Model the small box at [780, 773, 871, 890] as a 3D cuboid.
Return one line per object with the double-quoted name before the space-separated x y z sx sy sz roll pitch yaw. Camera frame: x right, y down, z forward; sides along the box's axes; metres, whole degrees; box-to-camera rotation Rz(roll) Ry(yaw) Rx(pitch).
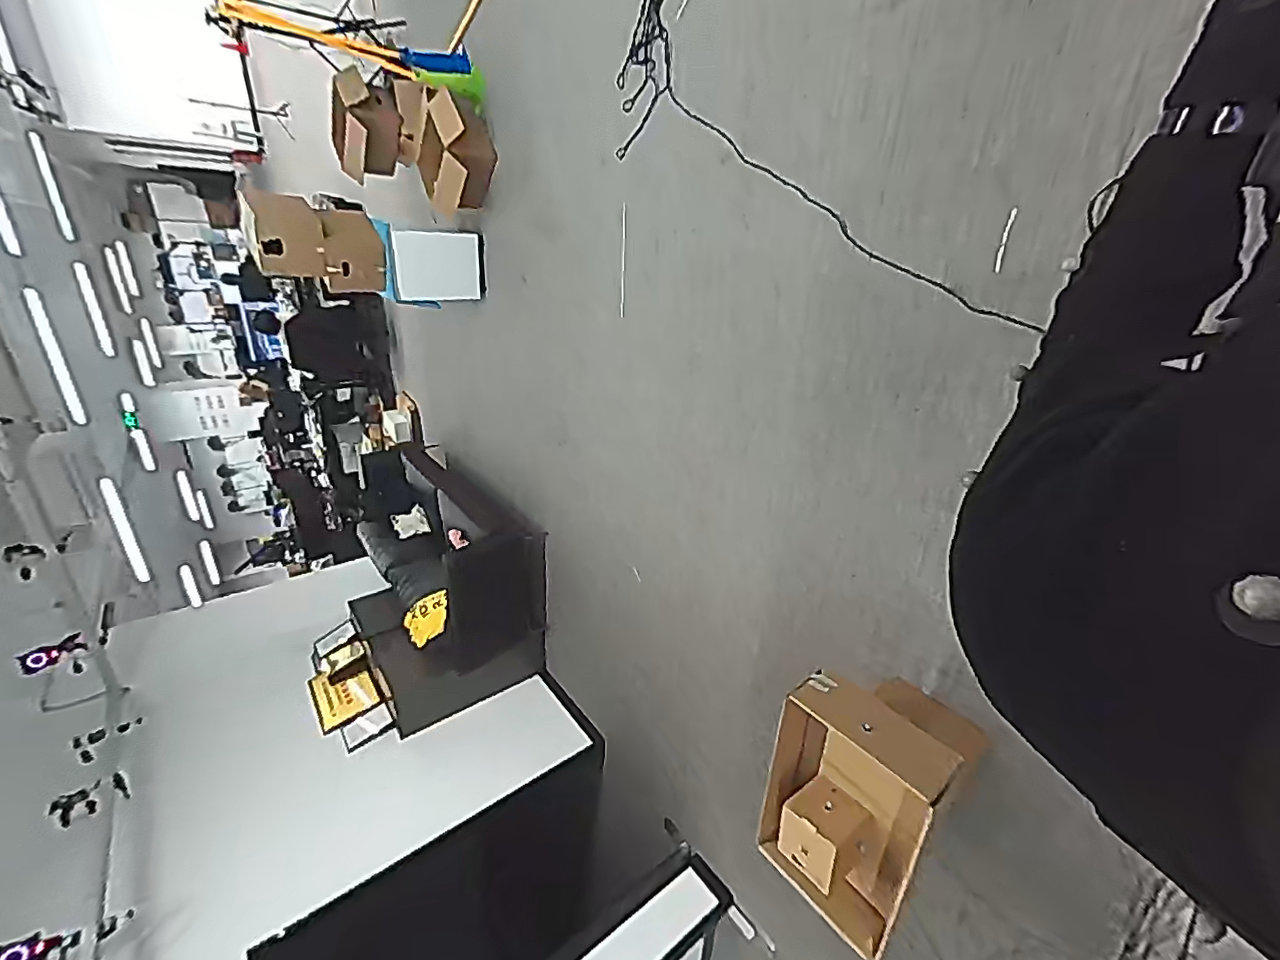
"small box" 0.514 0.958 1.494 0.168 0.176 0.179 24 119 48
